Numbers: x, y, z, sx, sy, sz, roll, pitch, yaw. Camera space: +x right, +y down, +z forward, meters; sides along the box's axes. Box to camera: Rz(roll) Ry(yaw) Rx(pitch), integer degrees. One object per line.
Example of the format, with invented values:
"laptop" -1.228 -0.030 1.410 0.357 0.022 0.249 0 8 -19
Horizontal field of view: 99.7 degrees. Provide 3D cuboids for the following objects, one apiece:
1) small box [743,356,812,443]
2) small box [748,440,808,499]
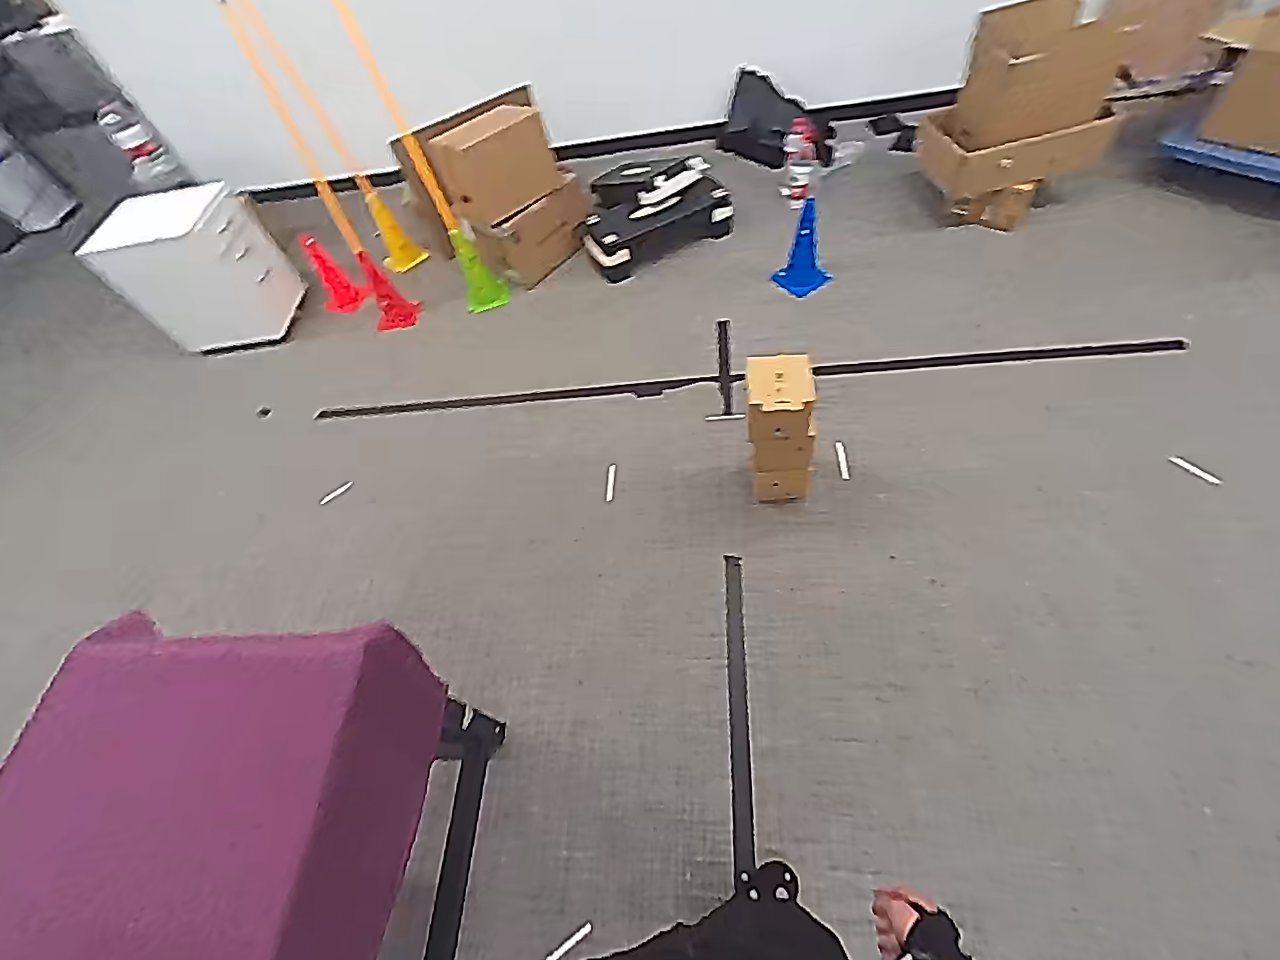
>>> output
"small box" 0.372 -0.221 1.494 0.168 0.176 0.179 -1 57 9
"small box" 0.445 -0.047 1.767 0.168 0.176 0.179 -6 56 6
